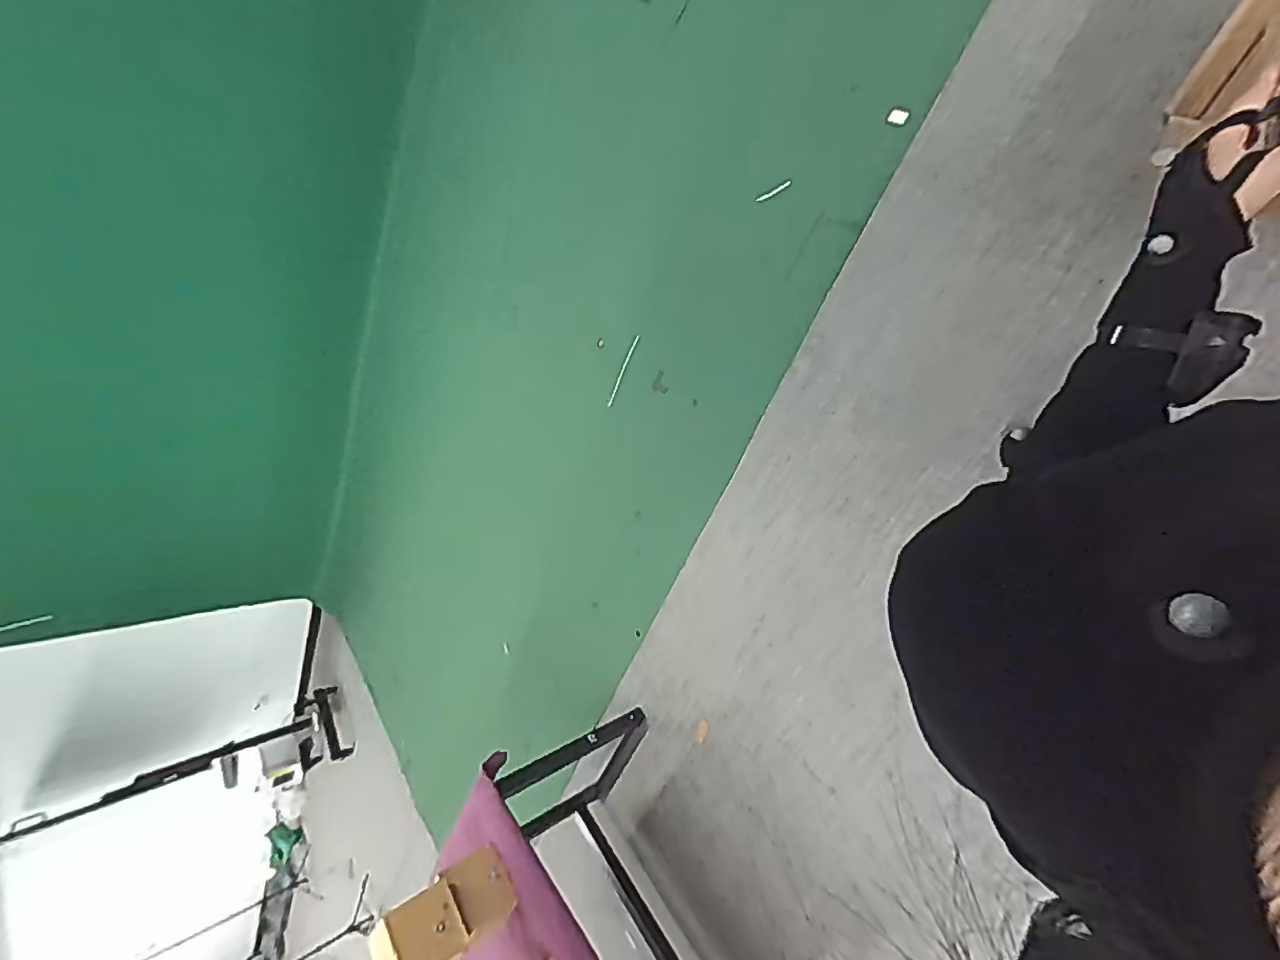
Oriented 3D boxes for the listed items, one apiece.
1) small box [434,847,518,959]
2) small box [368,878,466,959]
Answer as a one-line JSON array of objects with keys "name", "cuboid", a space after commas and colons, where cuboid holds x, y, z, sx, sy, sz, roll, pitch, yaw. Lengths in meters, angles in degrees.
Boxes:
[{"name": "small box", "cuboid": [-0.471, 1.174, 1.514, 0.179, 0.176, 0.168, 43, 121, 34]}, {"name": "small box", "cuboid": [-0.568, 1.173, 1.382, 0.168, 0.176, 0.179, 50, 123, 30]}]
